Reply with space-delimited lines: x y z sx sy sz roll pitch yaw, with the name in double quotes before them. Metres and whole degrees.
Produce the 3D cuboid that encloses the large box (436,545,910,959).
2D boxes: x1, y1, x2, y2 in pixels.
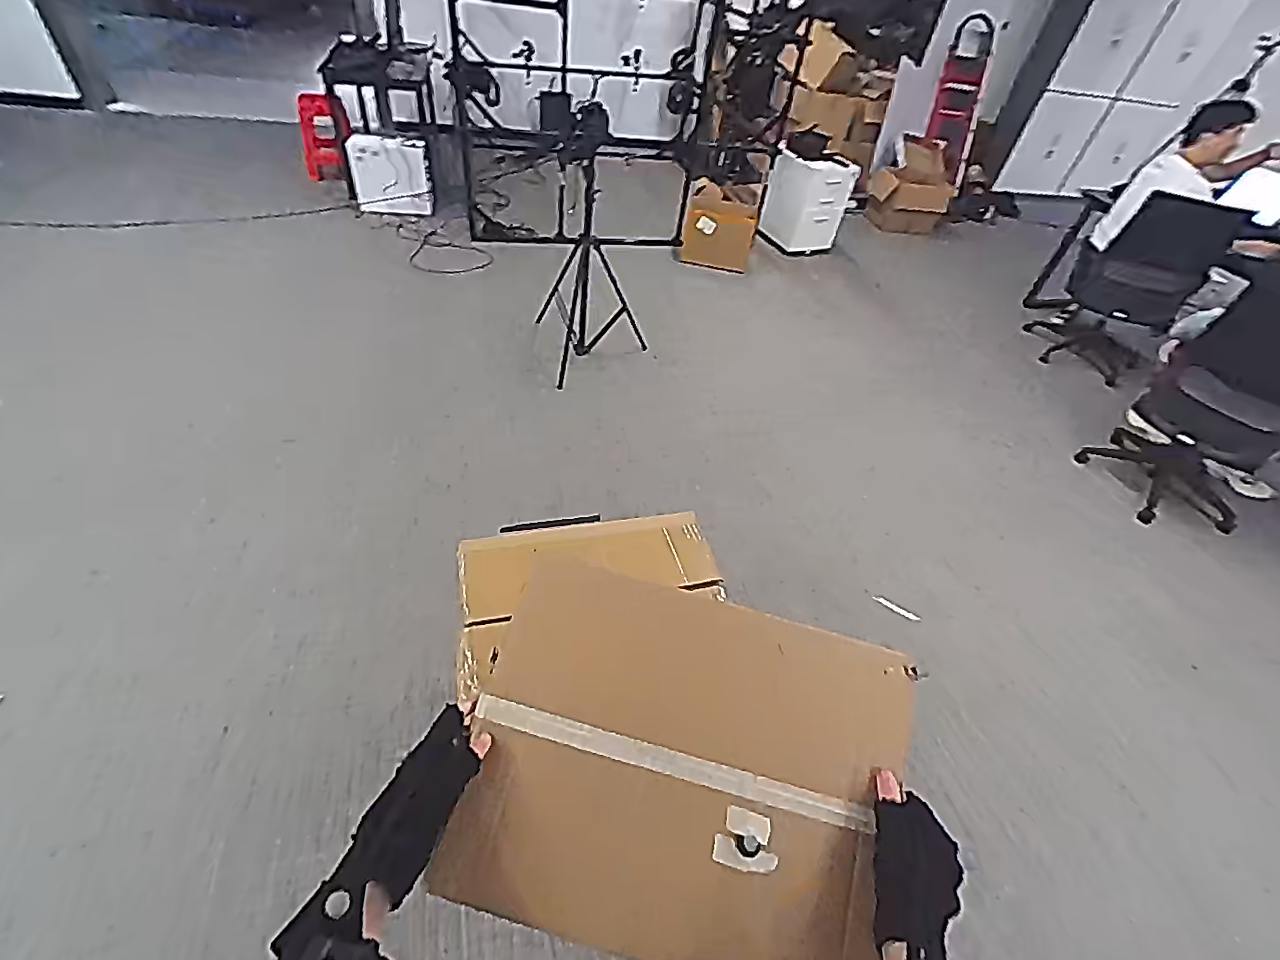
"large box" 0.039 0.298 0.649 0.408 0.320 0.320 15 73 2
